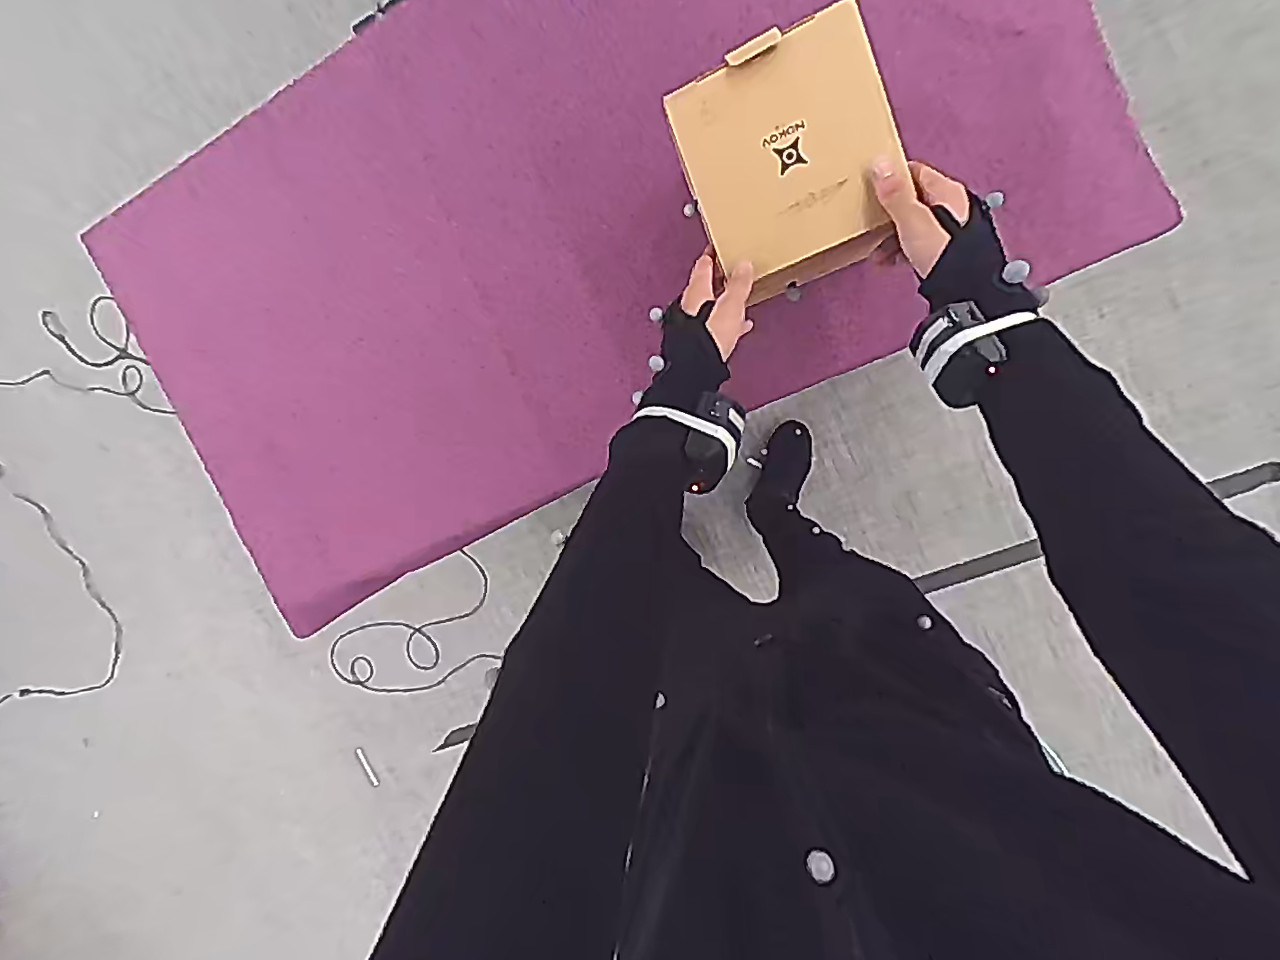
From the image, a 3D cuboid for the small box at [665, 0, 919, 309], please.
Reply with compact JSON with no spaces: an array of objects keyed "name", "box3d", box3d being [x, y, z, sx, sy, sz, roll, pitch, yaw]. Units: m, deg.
[{"name":"small box","box3d":[0.136,-0.286,0.523,0.168,0.176,0.179,-19,96,14]}]
